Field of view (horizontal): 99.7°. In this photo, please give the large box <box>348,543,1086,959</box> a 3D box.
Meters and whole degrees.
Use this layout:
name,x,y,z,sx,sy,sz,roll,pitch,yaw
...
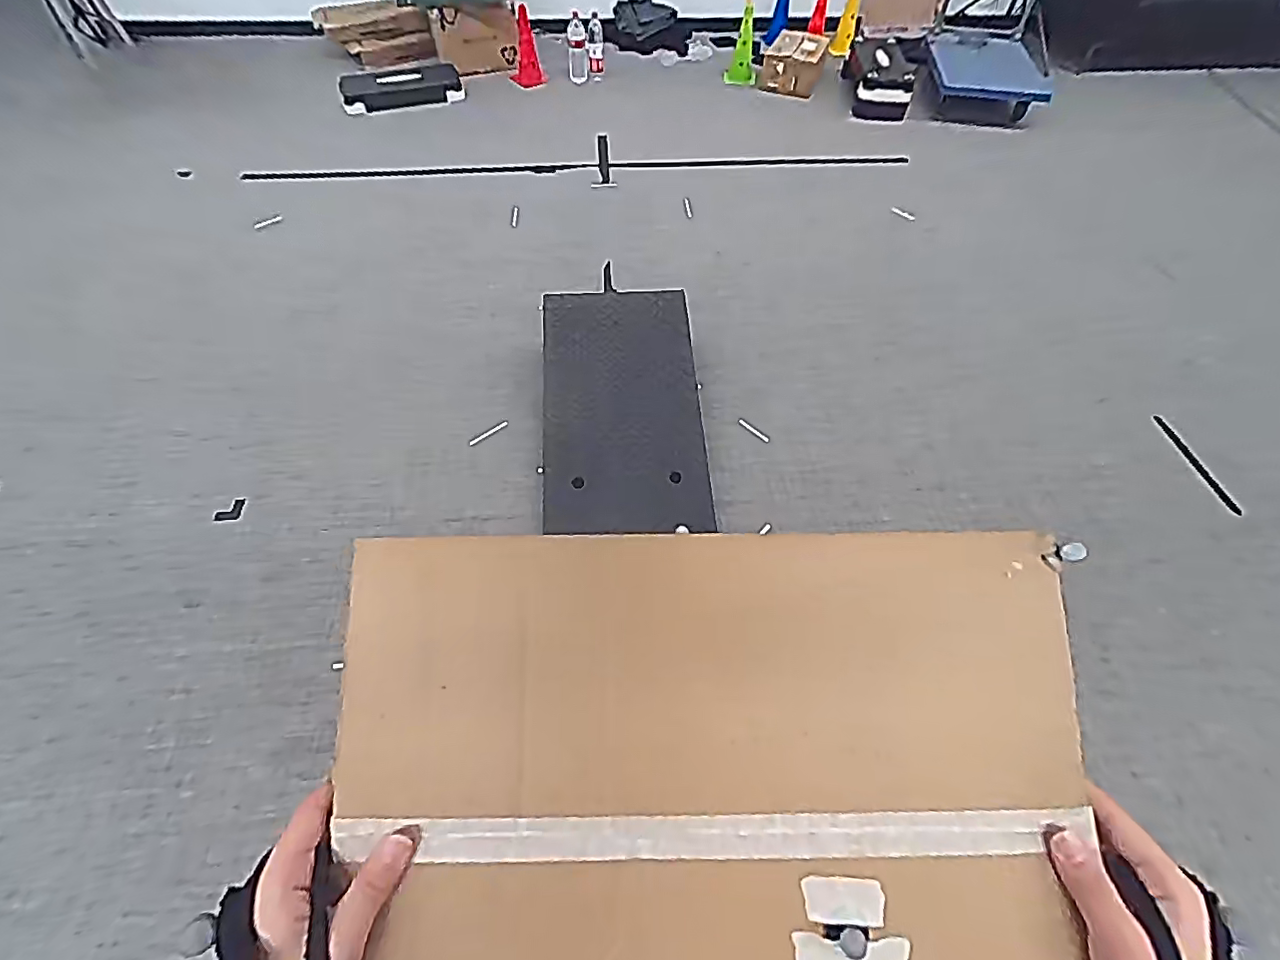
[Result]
name,x,y,z,sx,sy,sz,roll,pitch,yaw
large box,0.037,0.220,0.447,0.408,0.320,0.320,-1,82,-1

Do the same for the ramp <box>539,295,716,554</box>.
name,x,y,z,sx,sy,sz,roll,pitch,yaw
ramp,-0.062,-0.173,1.670,0.509,0.206,0.991,-4,56,-6
